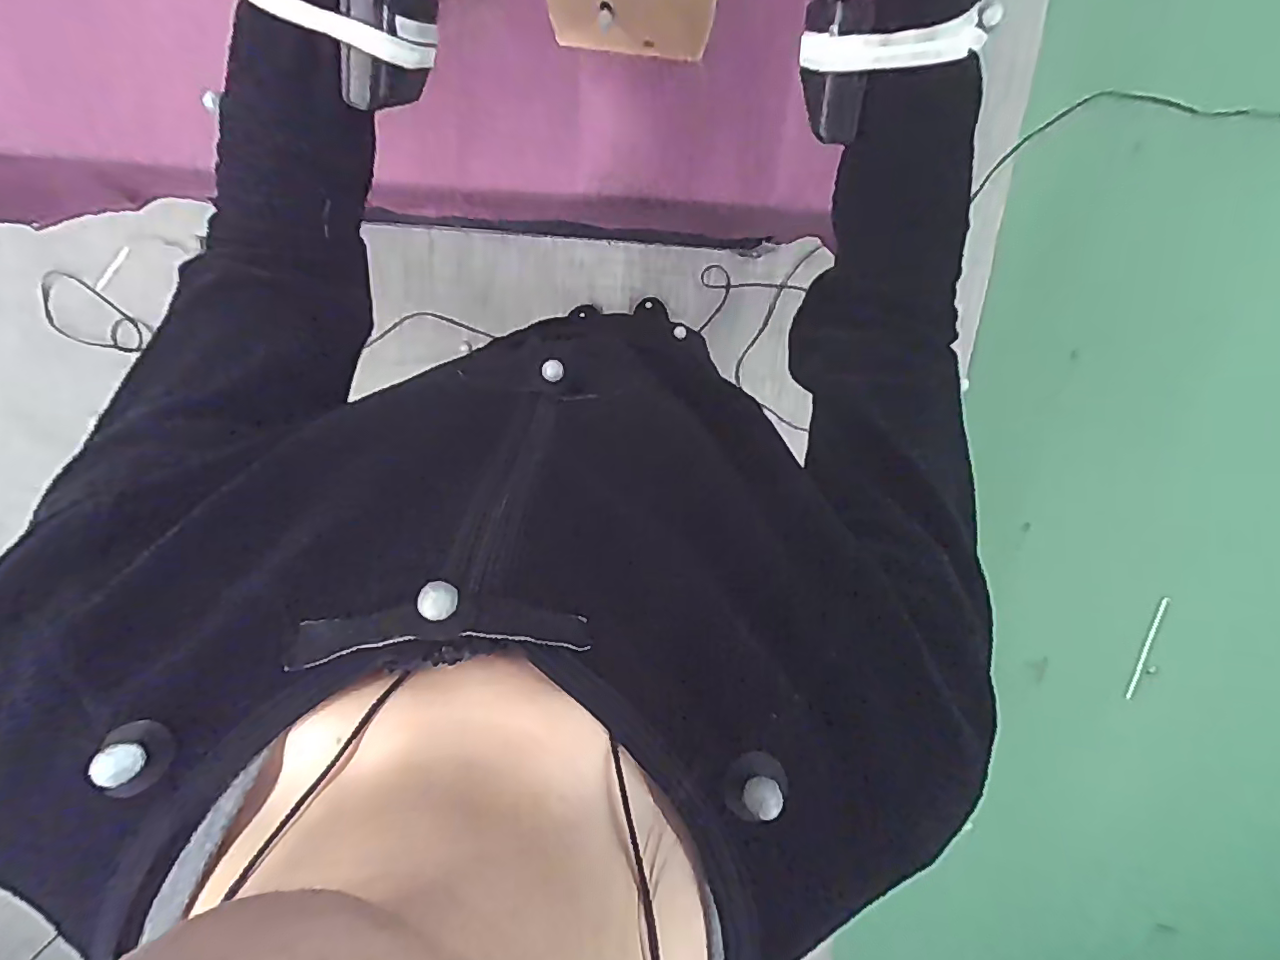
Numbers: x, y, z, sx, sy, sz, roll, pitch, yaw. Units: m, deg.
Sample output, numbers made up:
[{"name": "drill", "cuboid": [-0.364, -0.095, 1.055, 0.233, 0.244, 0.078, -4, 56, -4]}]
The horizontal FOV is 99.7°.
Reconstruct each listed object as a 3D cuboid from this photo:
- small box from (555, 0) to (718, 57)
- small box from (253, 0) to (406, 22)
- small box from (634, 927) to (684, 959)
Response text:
[{"name": "small box", "cuboid": [0.003, -0.547, 0.518, 0.168, 0.176, 0.179, 5, 106, -2]}, {"name": "small box", "cuboid": [-0.331, -0.572, 0.506, 0.179, 0.176, 0.168, 4, 106, -2]}, {"name": "small box", "cuboid": [0.066, 1.787, 1.985, 0.179, 0.176, 0.168, 2, 107, -2]}]
